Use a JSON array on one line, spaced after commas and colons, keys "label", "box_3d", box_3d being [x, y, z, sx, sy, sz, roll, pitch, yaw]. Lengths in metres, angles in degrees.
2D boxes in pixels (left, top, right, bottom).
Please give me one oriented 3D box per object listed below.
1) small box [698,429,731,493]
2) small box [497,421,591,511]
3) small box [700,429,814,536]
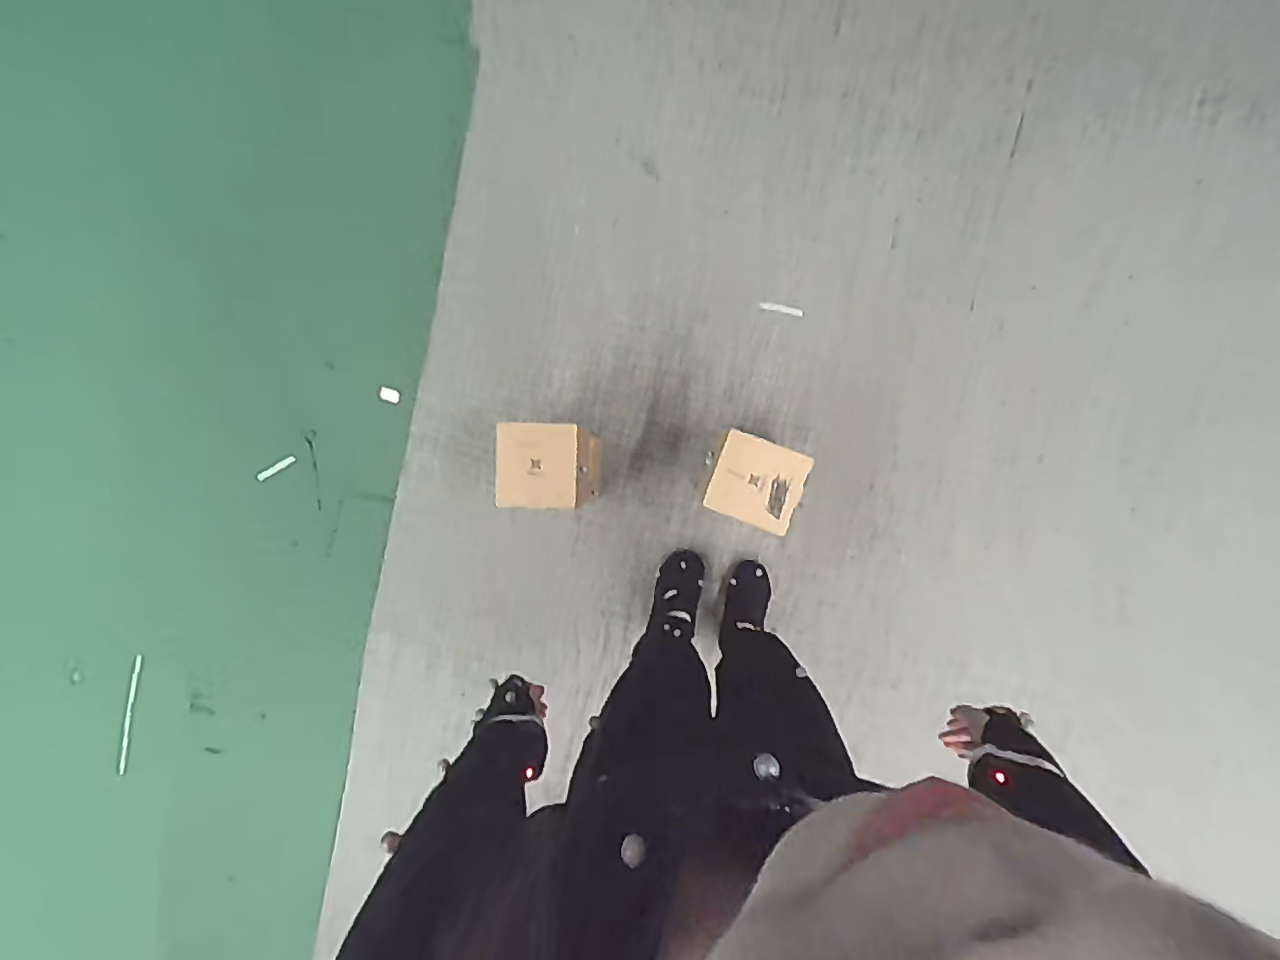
[{"label": "small box", "box_3d": [0.250, -0.016, 1.300, 0.179, 0.176, 0.168, 20, 94, 2]}, {"label": "small box", "box_3d": [-0.200, -0.032, 1.167, 0.168, 0.176, 0.179, 2, 92, 3]}, {"label": "small box", "box_3d": [0.236, -0.001, 1.136, 0.179, 0.176, 0.168, 21, 94, 4]}]
